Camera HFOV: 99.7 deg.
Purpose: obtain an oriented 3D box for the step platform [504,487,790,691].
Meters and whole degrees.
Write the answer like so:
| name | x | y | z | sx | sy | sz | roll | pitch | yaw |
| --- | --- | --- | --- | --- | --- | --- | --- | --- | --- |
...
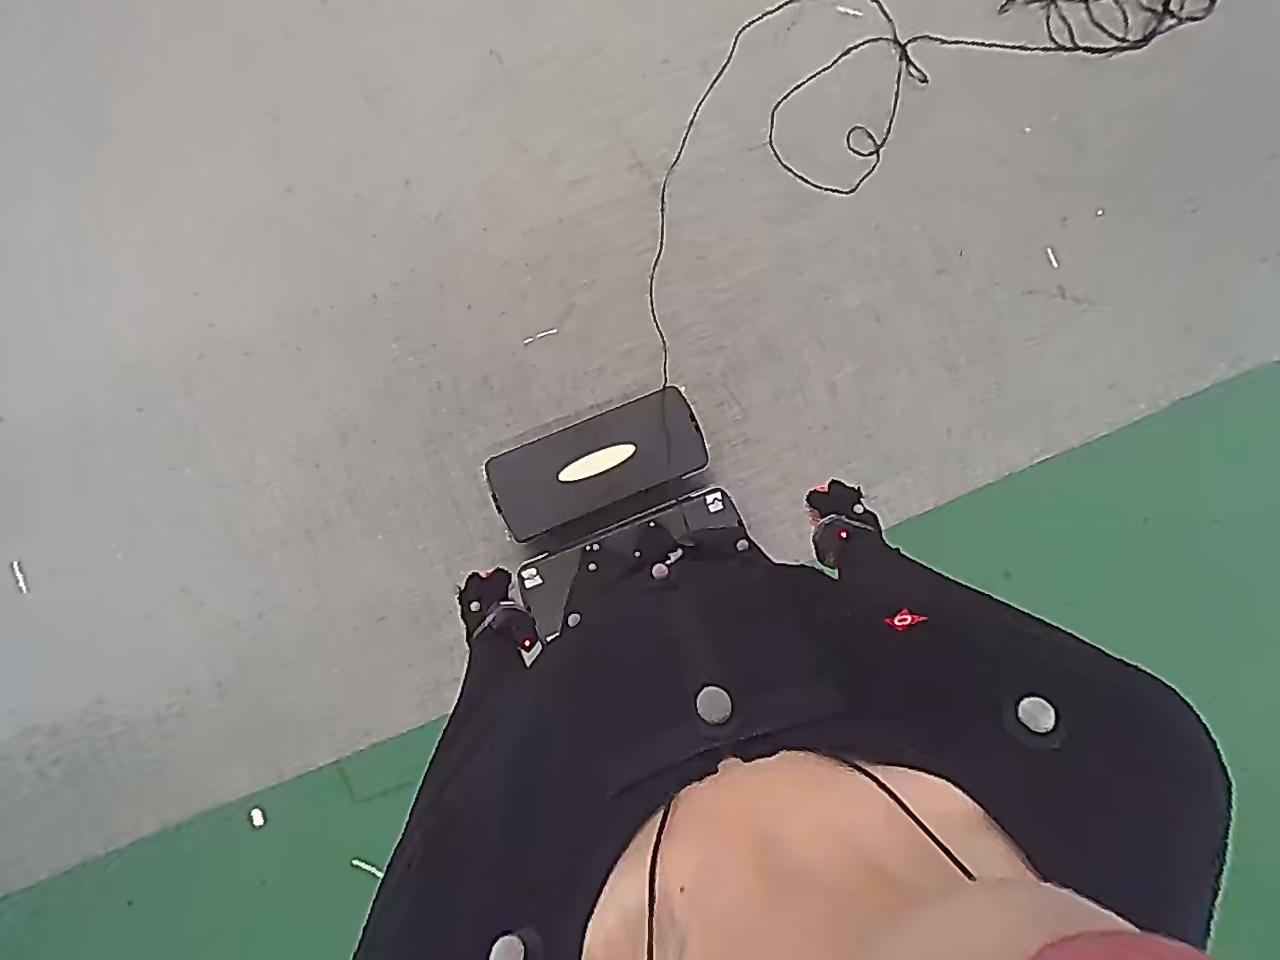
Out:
| name | x | y | z | sx | sy | sz | roll | pitch | yaw |
| --- | --- | --- | --- | --- | --- | --- | --- | --- | --- |
| step platform | 0.018 | 0.267 | 1.388 | 0.684 | 0.204 | 0.286 | -22 | 86 | -4 |
